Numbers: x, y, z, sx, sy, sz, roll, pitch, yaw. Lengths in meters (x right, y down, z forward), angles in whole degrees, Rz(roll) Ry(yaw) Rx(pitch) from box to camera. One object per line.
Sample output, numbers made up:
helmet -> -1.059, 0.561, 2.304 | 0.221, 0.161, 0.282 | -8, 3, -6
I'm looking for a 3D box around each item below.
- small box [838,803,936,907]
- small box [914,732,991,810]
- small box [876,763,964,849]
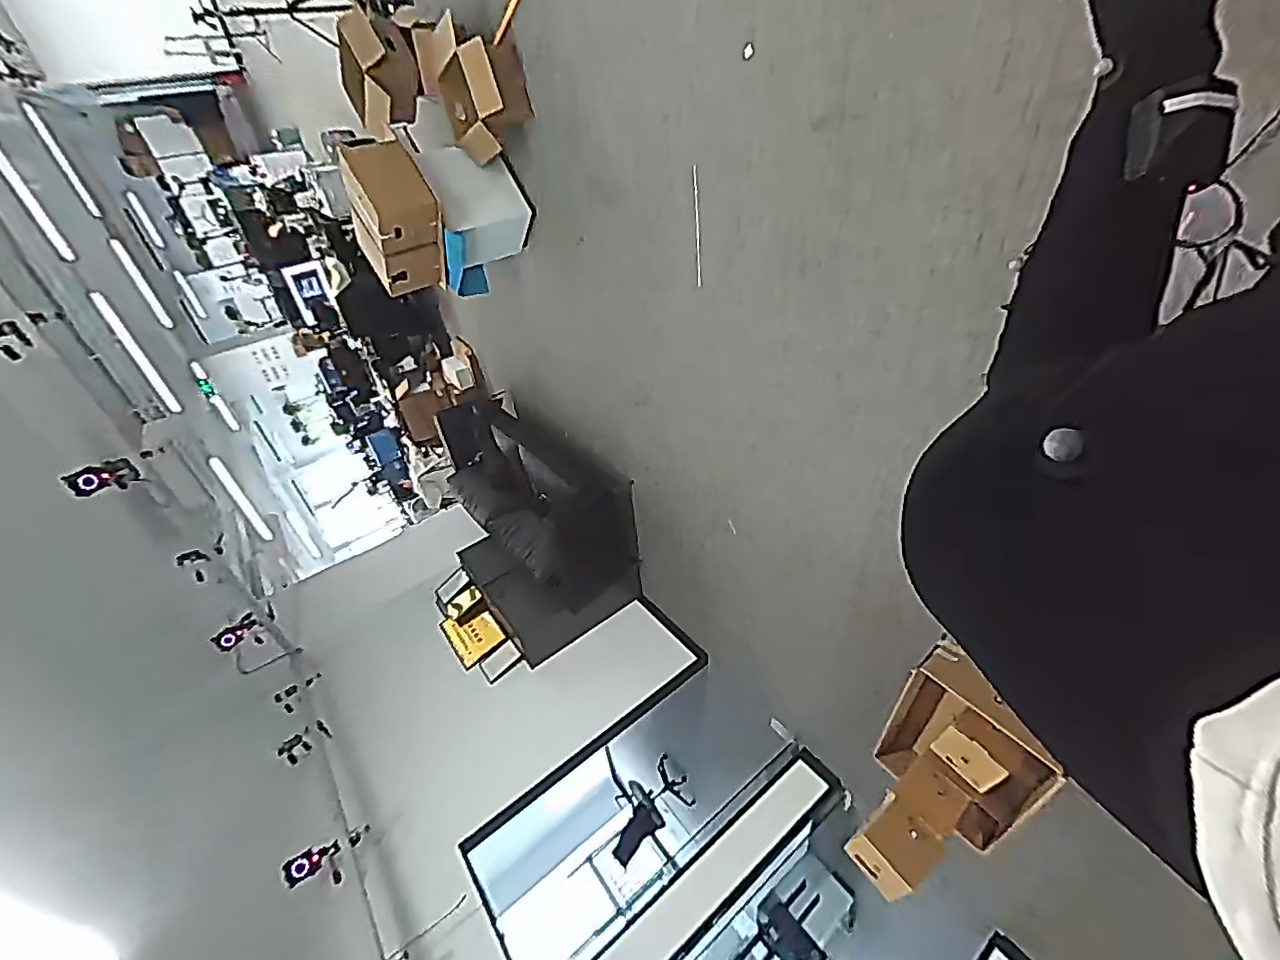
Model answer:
small box -> 0.710, 1.075, 1.555 | 0.168, 0.176, 0.179 | 45, 146, 33
small box -> 0.967, 0.941, 1.705 | 0.168, 0.176, 0.179 | 37, 143, 40
small box -> 0.838, 1.004, 1.630 | 0.168, 0.176, 0.179 | 38, 143, 41
